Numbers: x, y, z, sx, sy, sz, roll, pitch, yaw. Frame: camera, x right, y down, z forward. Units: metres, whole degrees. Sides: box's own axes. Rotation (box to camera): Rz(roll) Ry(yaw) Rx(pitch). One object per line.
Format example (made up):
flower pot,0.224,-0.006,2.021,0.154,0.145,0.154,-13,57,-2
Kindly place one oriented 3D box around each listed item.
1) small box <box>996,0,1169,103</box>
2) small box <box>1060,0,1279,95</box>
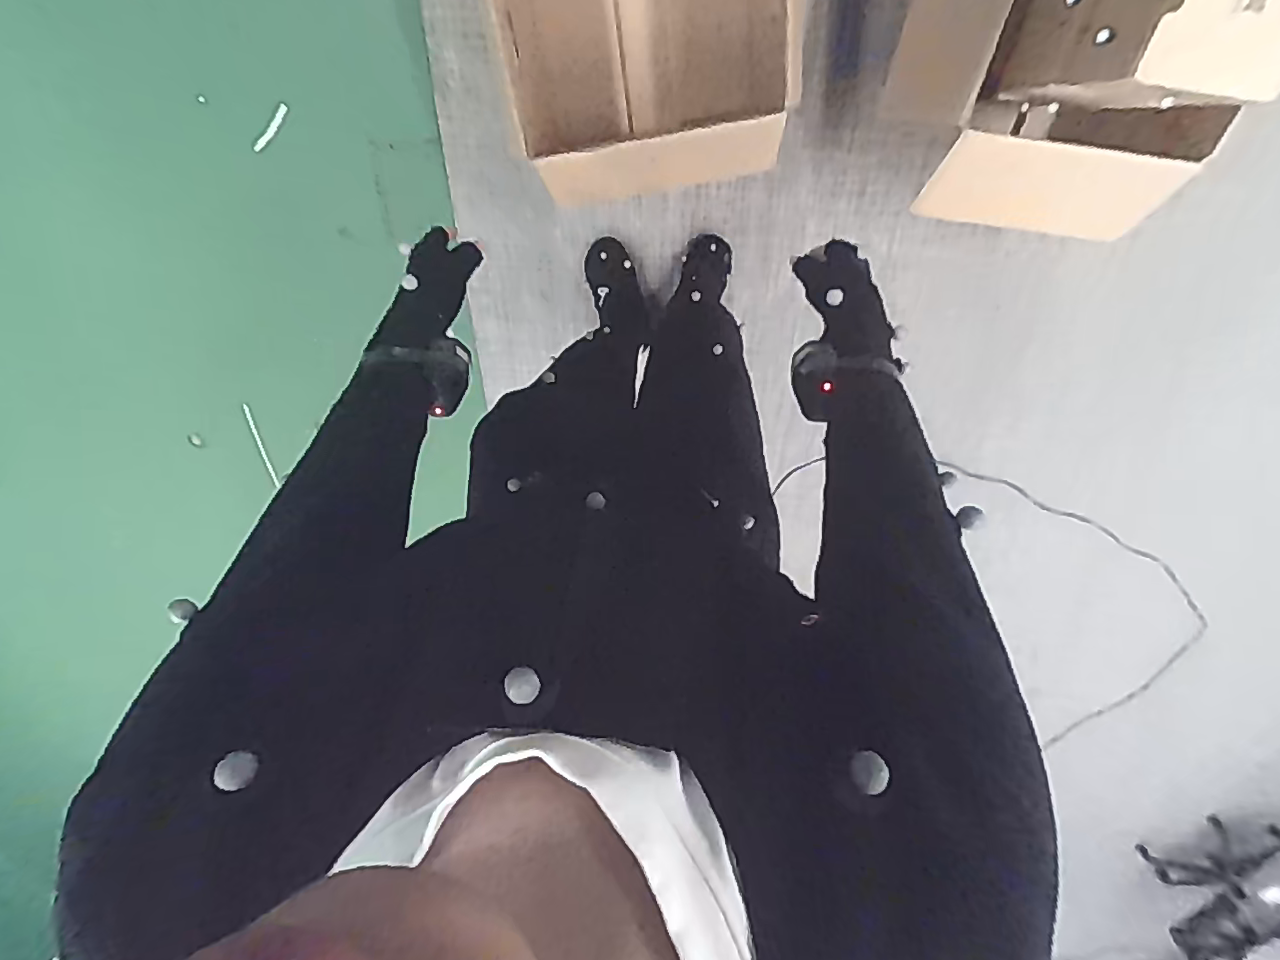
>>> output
small box,0.675,-0.659,0.787,0.179,0.176,0.168,7,123,-1
small box,0.668,-0.573,0.650,0.179,0.176,0.168,6,126,-1
